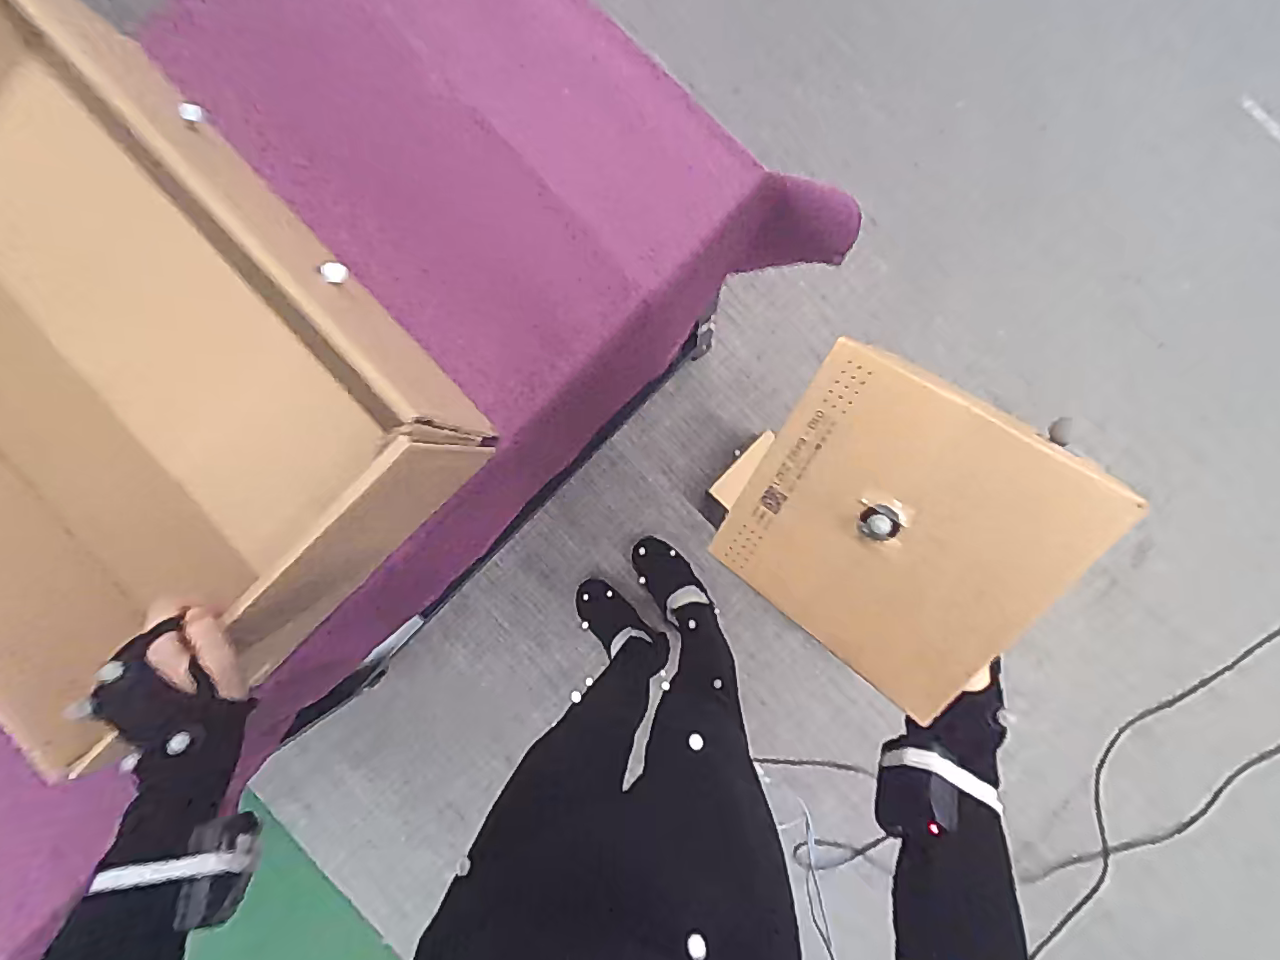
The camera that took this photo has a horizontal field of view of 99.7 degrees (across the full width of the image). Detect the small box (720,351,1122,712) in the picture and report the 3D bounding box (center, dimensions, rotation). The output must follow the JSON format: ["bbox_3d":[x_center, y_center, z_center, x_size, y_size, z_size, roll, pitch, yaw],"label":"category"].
[{"bbox_3d":[0.187,0.020,0.395,0.176,0.179,0.168,40,116,23],"label":"small box"}]
